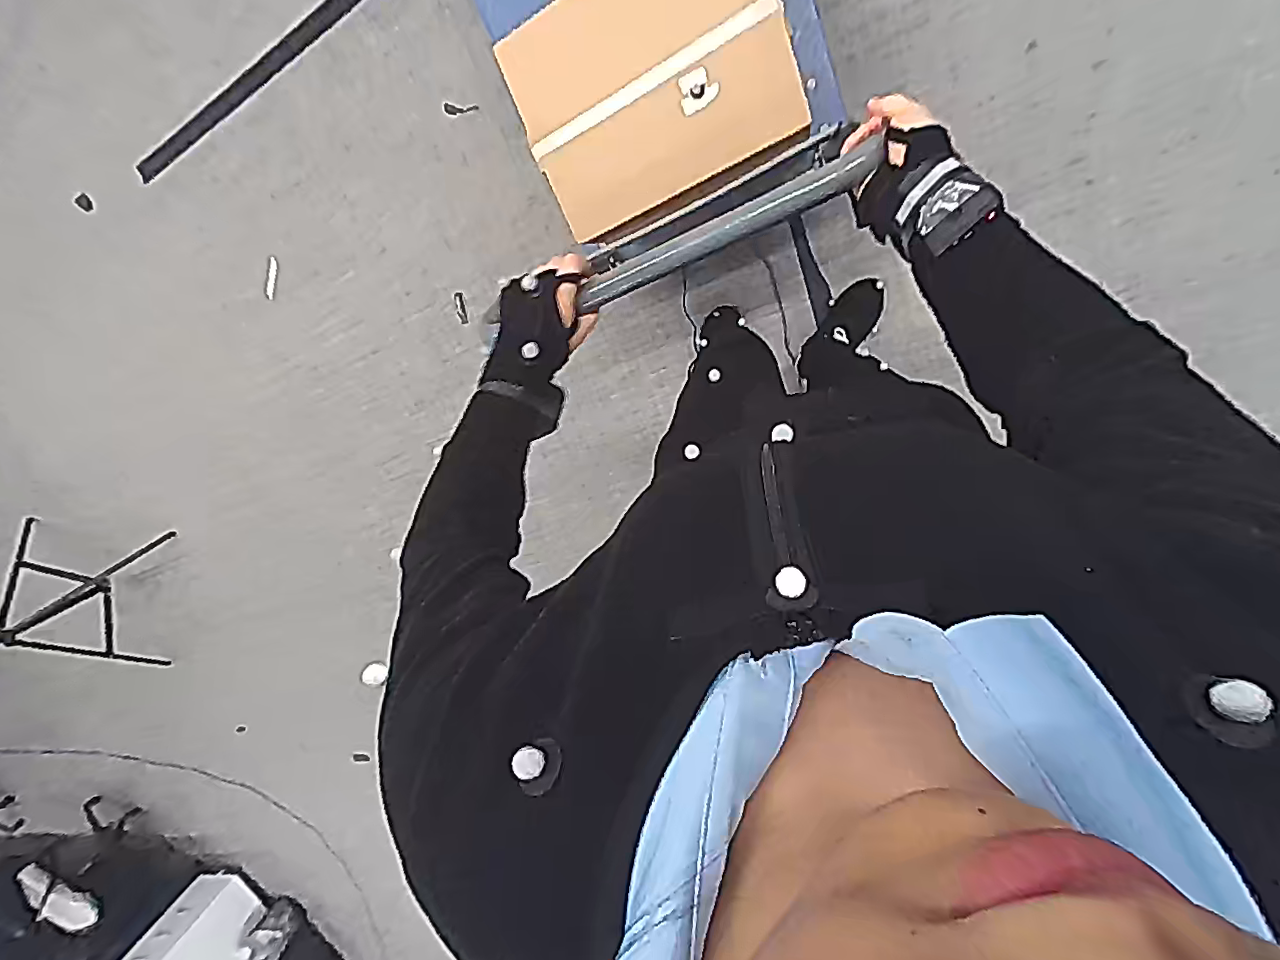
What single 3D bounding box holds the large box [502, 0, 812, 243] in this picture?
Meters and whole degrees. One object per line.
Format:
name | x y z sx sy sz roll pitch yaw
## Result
large box | 0.050 -0.656 0.947 0.408 0.320 0.320 -19 108 22
